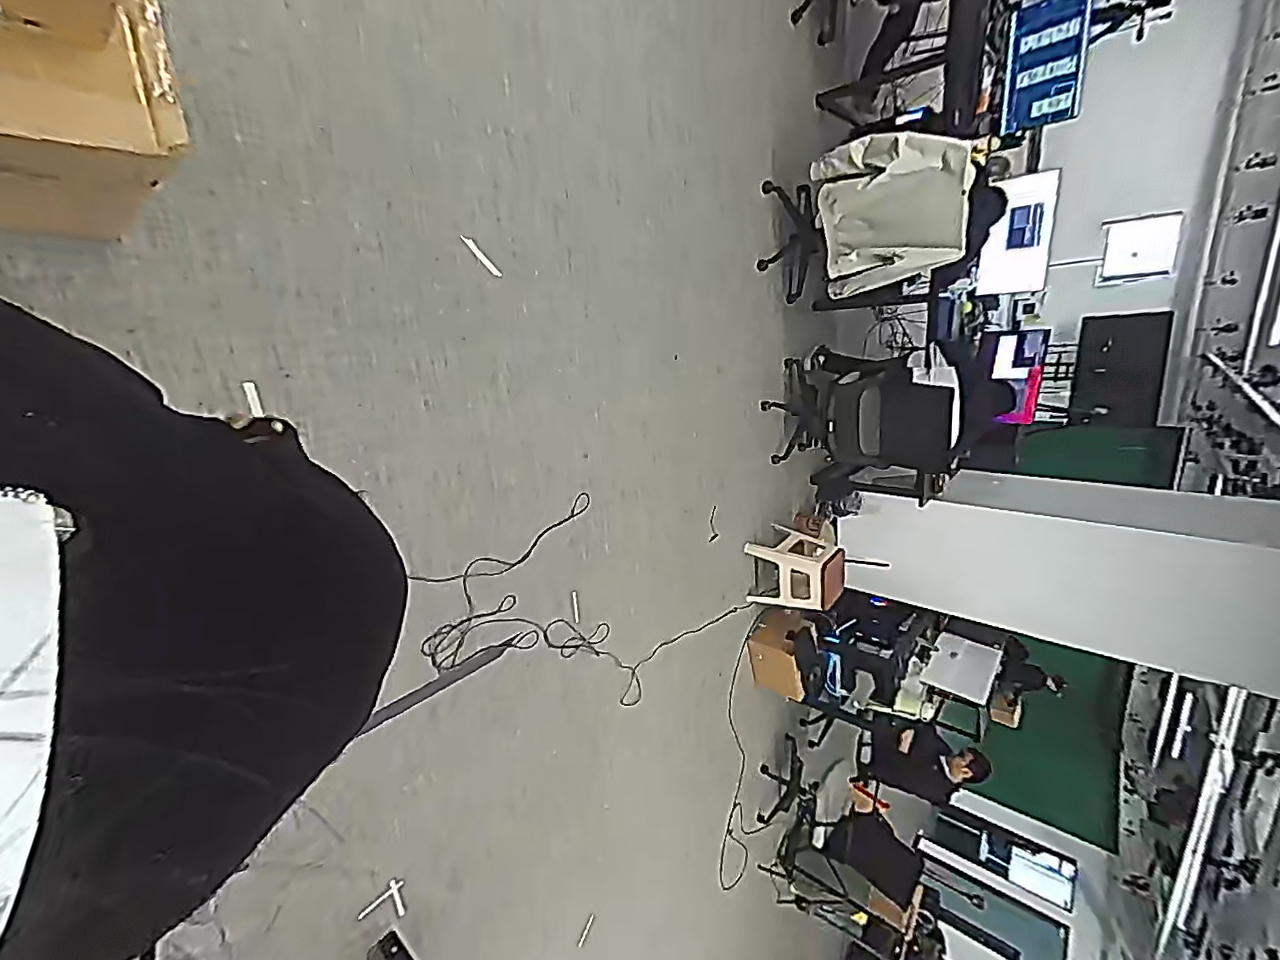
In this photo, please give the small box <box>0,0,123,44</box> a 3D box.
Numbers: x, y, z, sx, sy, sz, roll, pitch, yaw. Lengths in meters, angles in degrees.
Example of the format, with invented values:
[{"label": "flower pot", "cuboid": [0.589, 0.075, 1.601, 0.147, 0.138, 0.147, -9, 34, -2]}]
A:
[{"label": "small box", "cuboid": [-0.602, -0.543, 0.482, 0.168, 0.176, 0.179, -20, 114, -44]}]
